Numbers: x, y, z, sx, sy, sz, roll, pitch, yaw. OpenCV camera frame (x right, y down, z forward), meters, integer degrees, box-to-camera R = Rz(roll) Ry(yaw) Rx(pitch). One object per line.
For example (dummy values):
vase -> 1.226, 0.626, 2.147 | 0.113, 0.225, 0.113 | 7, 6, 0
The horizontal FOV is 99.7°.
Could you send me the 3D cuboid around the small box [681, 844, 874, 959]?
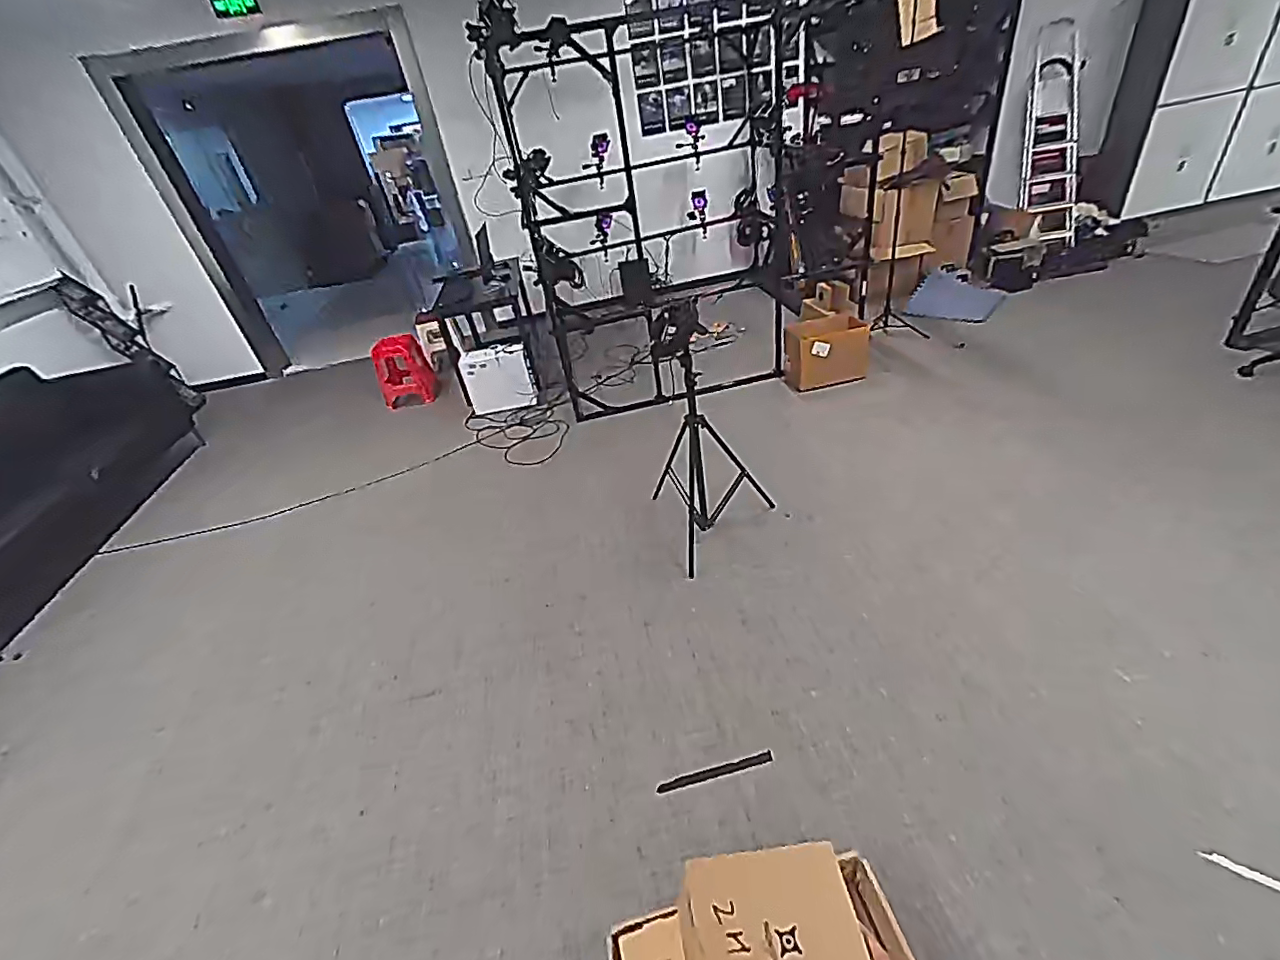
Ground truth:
small box -> 0.145, 0.530, 0.594 | 0.179, 0.176, 0.168 | -5, 39, -4
